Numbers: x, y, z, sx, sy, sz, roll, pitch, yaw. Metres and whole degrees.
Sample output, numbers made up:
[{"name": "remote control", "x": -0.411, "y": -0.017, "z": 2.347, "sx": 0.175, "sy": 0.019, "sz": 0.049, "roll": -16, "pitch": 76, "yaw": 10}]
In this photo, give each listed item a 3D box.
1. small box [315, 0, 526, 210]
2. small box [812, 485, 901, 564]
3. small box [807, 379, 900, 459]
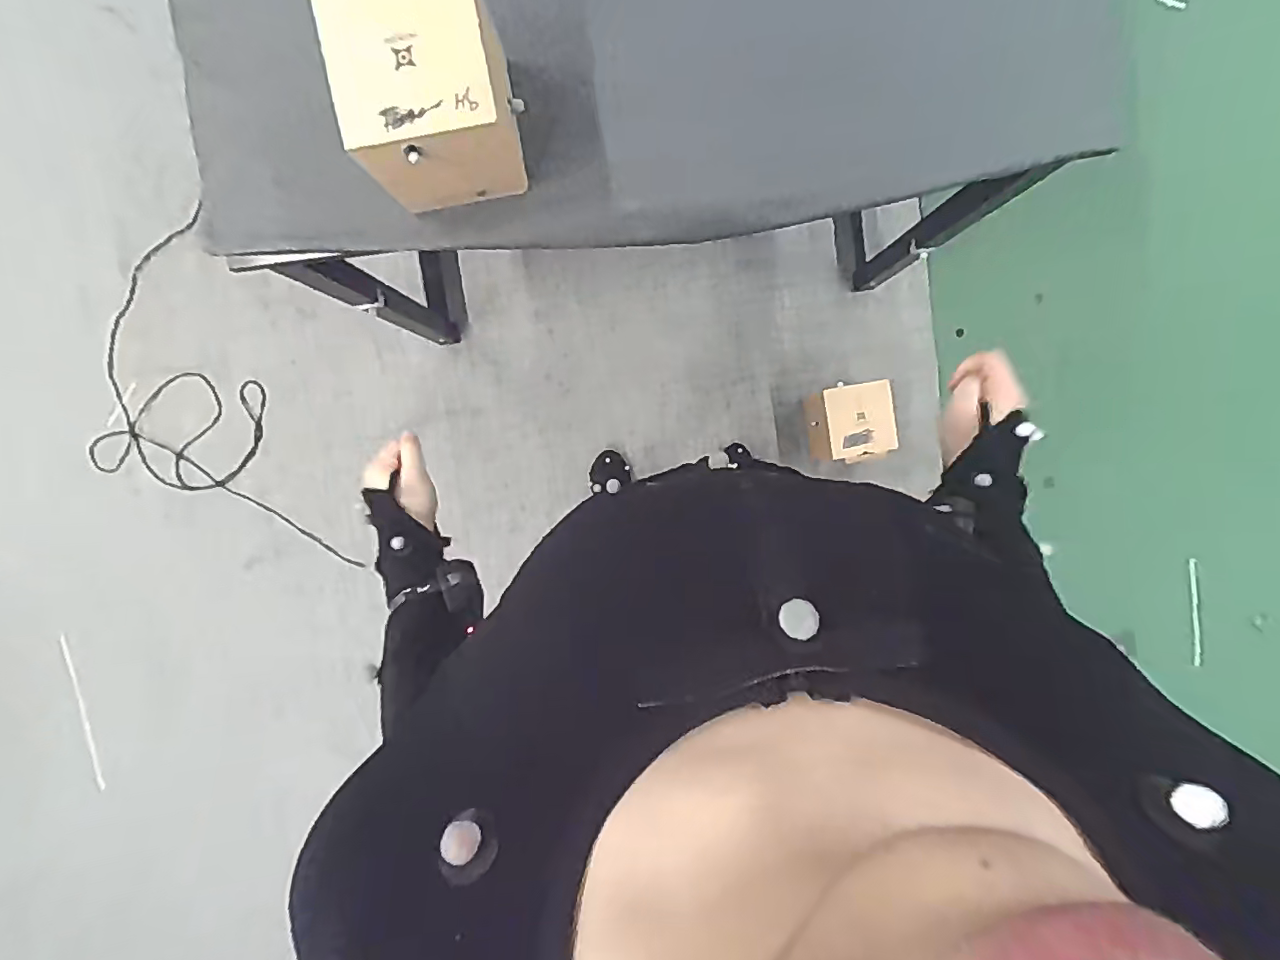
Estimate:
[{"name": "small box", "x": -0.243, "y": -0.450, "z": 0.636, "sx": 0.168, "sy": 0.176, "sz": 0.179, "roll": -9, "pitch": 95, "yaw": 1}, {"name": "small box", "x": 0.554, "y": 0.110, "z": 1.404, "sx": 0.168, "sy": 0.176, "sz": 0.179, "roll": 1, "pitch": 95, "yaw": 1}, {"name": "small box", "x": 0.538, "y": -0.153, "z": 1.382, "sx": 0.168, "sy": 0.176, "sz": 0.179, "roll": -9, "pitch": 94, "yaw": 1}]
